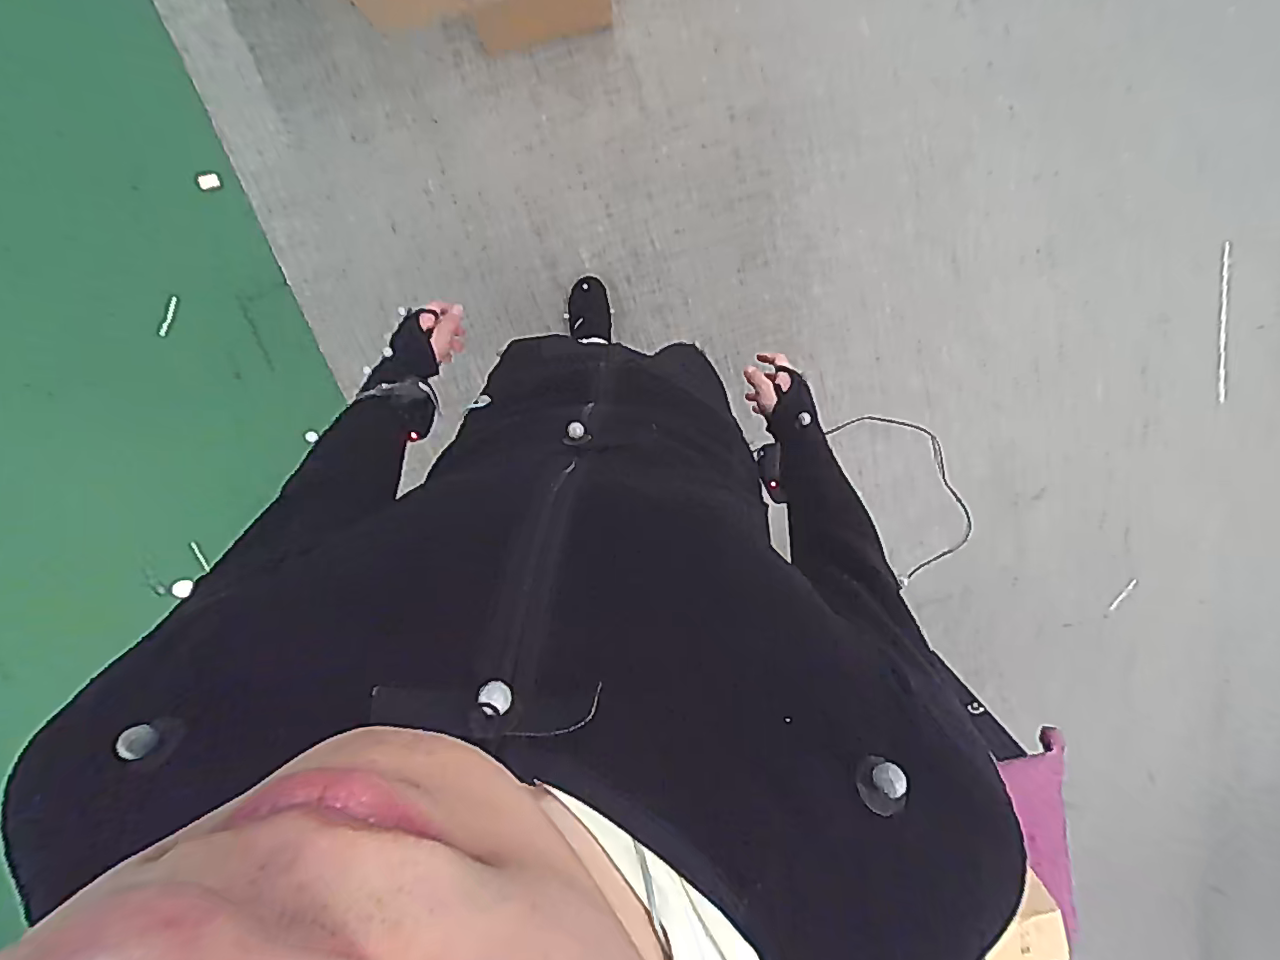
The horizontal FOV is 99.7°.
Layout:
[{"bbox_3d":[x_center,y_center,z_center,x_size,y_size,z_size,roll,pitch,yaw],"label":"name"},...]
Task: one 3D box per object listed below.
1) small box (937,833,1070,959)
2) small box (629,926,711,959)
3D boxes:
[{"bbox_3d":[0.771,0.908,1.158,0.168,0.176,0.179,-21,109,4],"label":"small box"},{"bbox_3d":[0.075,1.150,1.205,0.179,0.176,0.168,-18,109,3],"label":"small box"}]
